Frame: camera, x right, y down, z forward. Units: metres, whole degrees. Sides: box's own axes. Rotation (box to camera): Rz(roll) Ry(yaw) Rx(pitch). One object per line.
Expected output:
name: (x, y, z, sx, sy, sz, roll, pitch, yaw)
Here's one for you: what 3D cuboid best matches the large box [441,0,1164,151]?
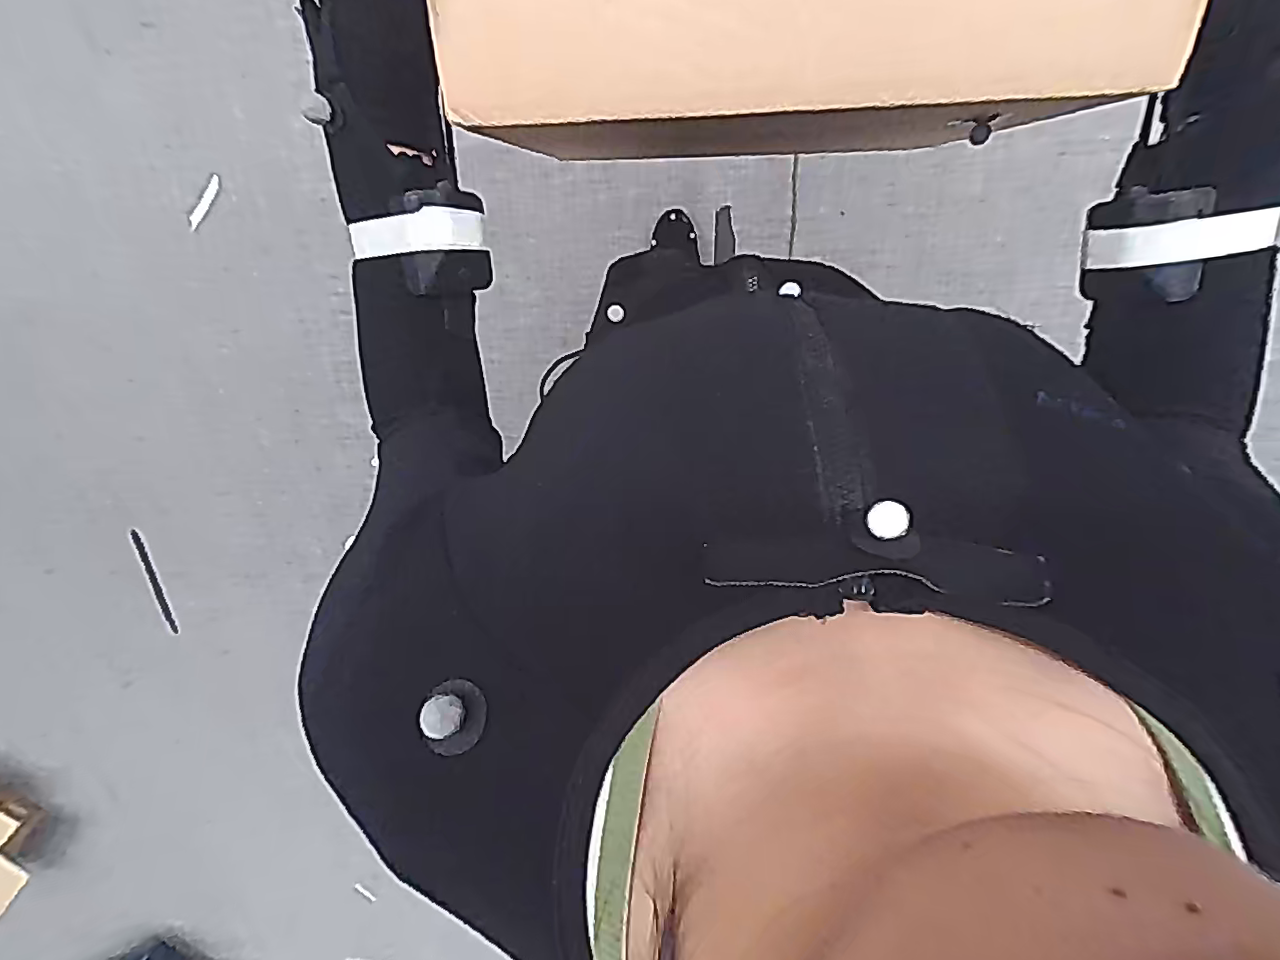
large box: (0.091, -0.428, 0.381, 0.408, 0.320, 0.320, 0, 117, 5)
